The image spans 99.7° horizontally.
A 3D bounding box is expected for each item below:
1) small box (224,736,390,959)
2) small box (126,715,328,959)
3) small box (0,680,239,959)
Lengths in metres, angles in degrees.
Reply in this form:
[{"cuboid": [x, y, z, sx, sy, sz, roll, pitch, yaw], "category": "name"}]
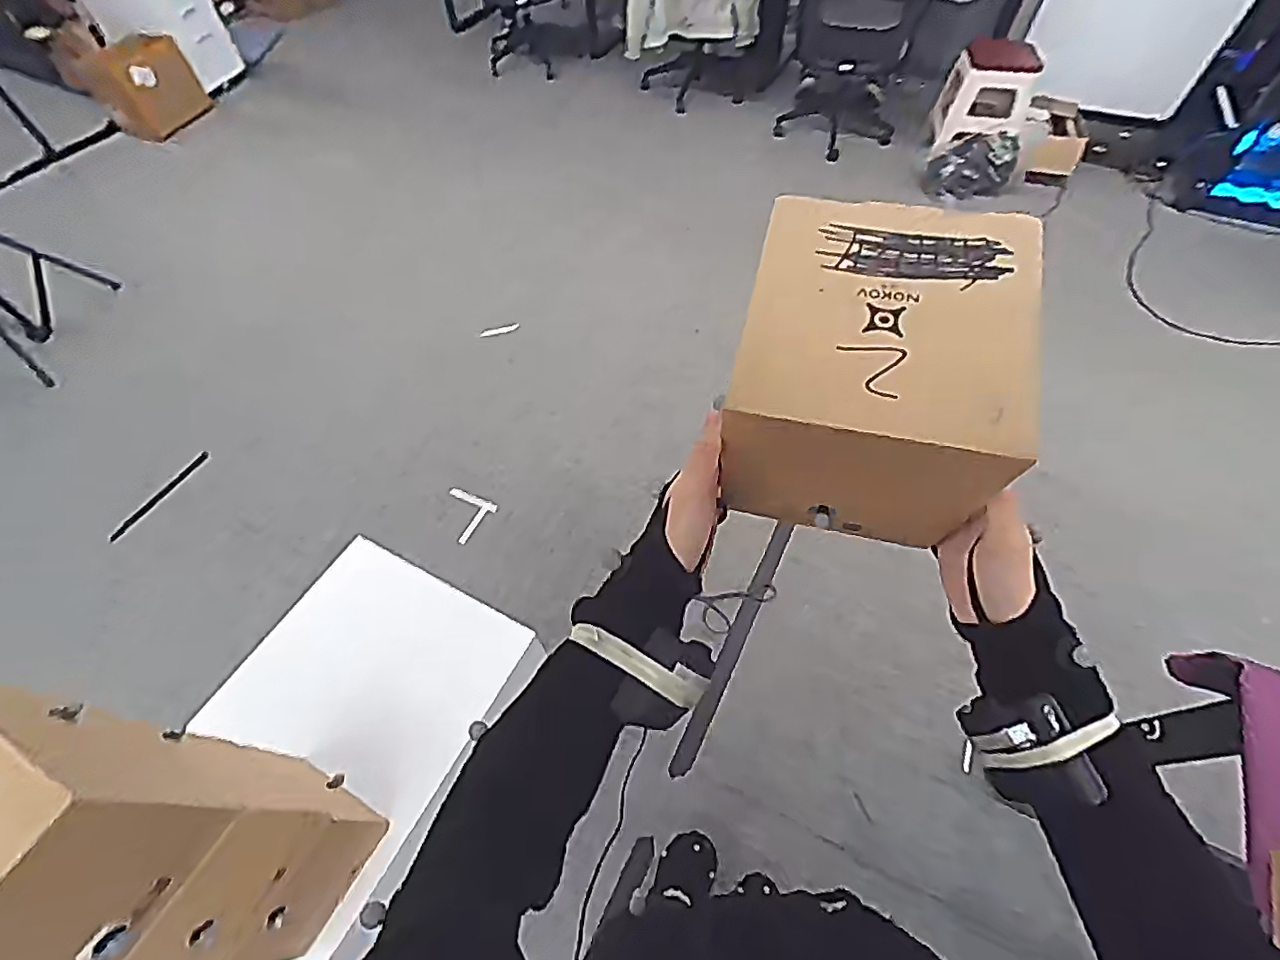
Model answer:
[{"cuboid": [-0.454, 0.449, 0.665, 0.179, 0.176, 0.168, 23, 60, 17], "category": "small box"}, {"cuboid": [-0.456, 0.360, 0.528, 0.179, 0.176, 0.168, 22, 60, 16], "category": "small box"}, {"cuboid": [-0.461, 0.269, 0.394, 0.179, 0.176, 0.168, 22, 61, 15], "category": "small box"}]
